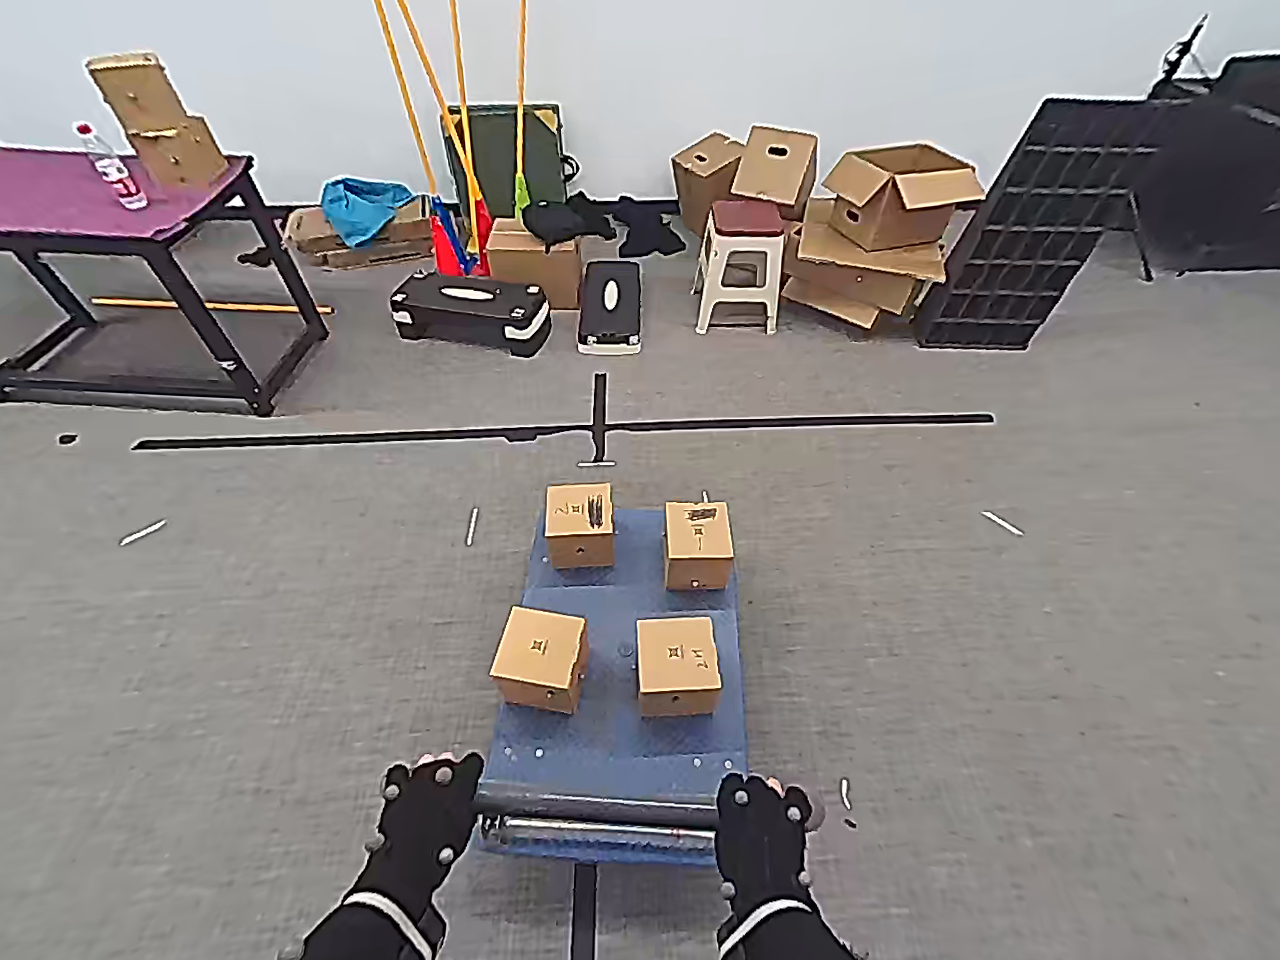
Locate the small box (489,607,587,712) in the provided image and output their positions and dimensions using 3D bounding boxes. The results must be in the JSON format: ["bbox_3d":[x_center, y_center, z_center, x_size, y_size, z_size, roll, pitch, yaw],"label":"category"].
[{"bbox_3d":[-0.225,0.418,1.248,0.179,0.176,0.168,9,50,4],"label":"small box"}]

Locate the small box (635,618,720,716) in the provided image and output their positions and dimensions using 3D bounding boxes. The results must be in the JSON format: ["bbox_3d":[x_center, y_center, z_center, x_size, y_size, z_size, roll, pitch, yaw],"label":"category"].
[{"bbox_3d":[0.079,0.432,1.240,0.179,0.176,0.168,-2,51,-2],"label":"small box"}]

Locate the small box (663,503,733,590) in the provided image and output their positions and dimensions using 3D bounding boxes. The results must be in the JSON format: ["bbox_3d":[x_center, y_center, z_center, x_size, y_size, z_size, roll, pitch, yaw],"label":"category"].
[{"bbox_3d":[0.149,0.179,1.452,0.168,0.176,0.179,0,51,-1],"label":"small box"}]
